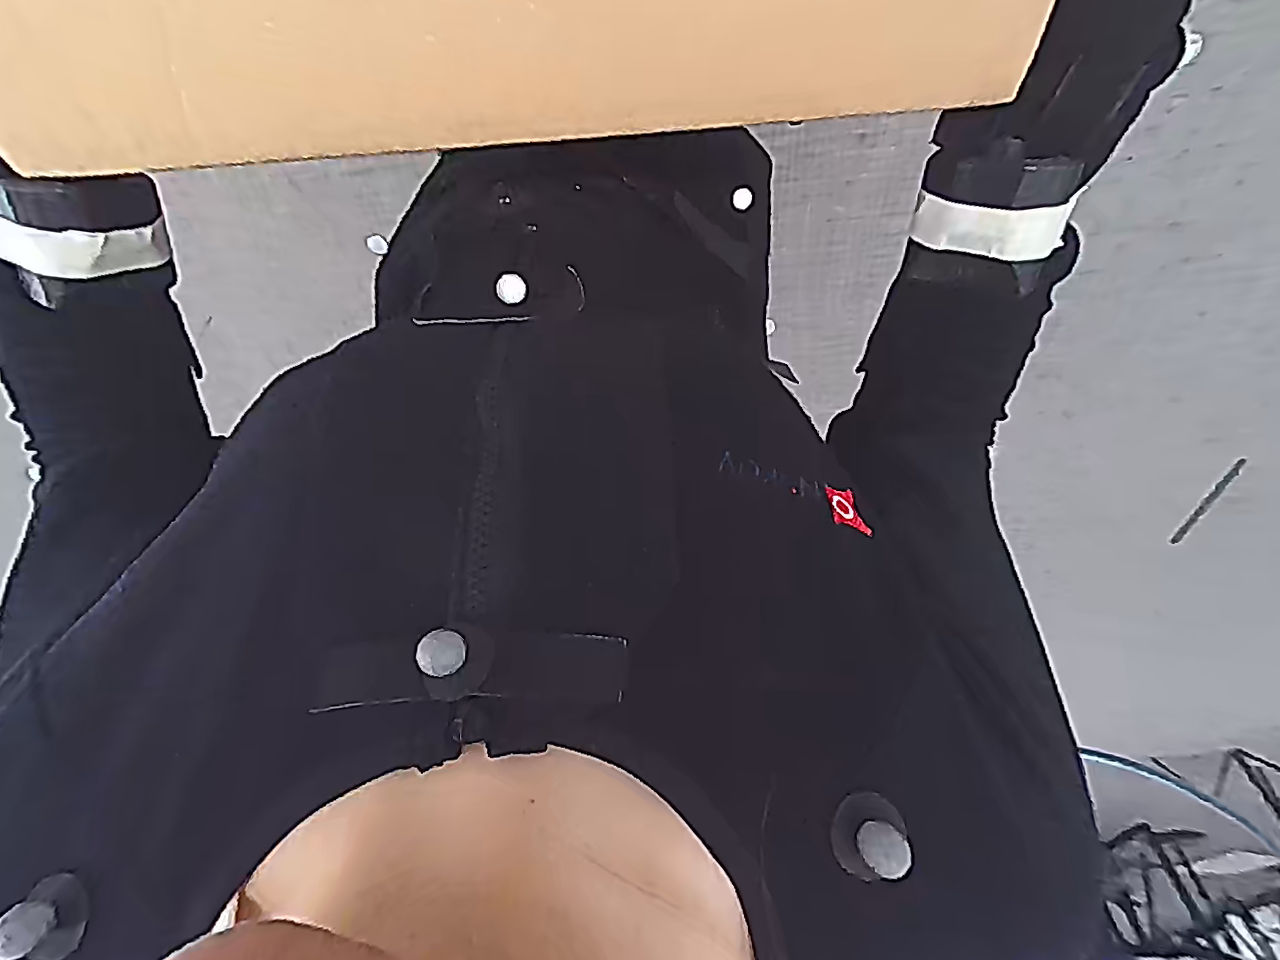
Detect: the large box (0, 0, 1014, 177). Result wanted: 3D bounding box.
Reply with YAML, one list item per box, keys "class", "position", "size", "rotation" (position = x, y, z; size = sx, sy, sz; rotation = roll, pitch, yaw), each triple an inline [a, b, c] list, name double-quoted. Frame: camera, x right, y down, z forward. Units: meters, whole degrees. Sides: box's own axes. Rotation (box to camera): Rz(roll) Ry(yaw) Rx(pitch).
- class: "large box"
  position: [-0.069, -0.360, 0.216]
  size: [0.408, 0.320, 0.320]
  rotation: [-4, 137, 1]
